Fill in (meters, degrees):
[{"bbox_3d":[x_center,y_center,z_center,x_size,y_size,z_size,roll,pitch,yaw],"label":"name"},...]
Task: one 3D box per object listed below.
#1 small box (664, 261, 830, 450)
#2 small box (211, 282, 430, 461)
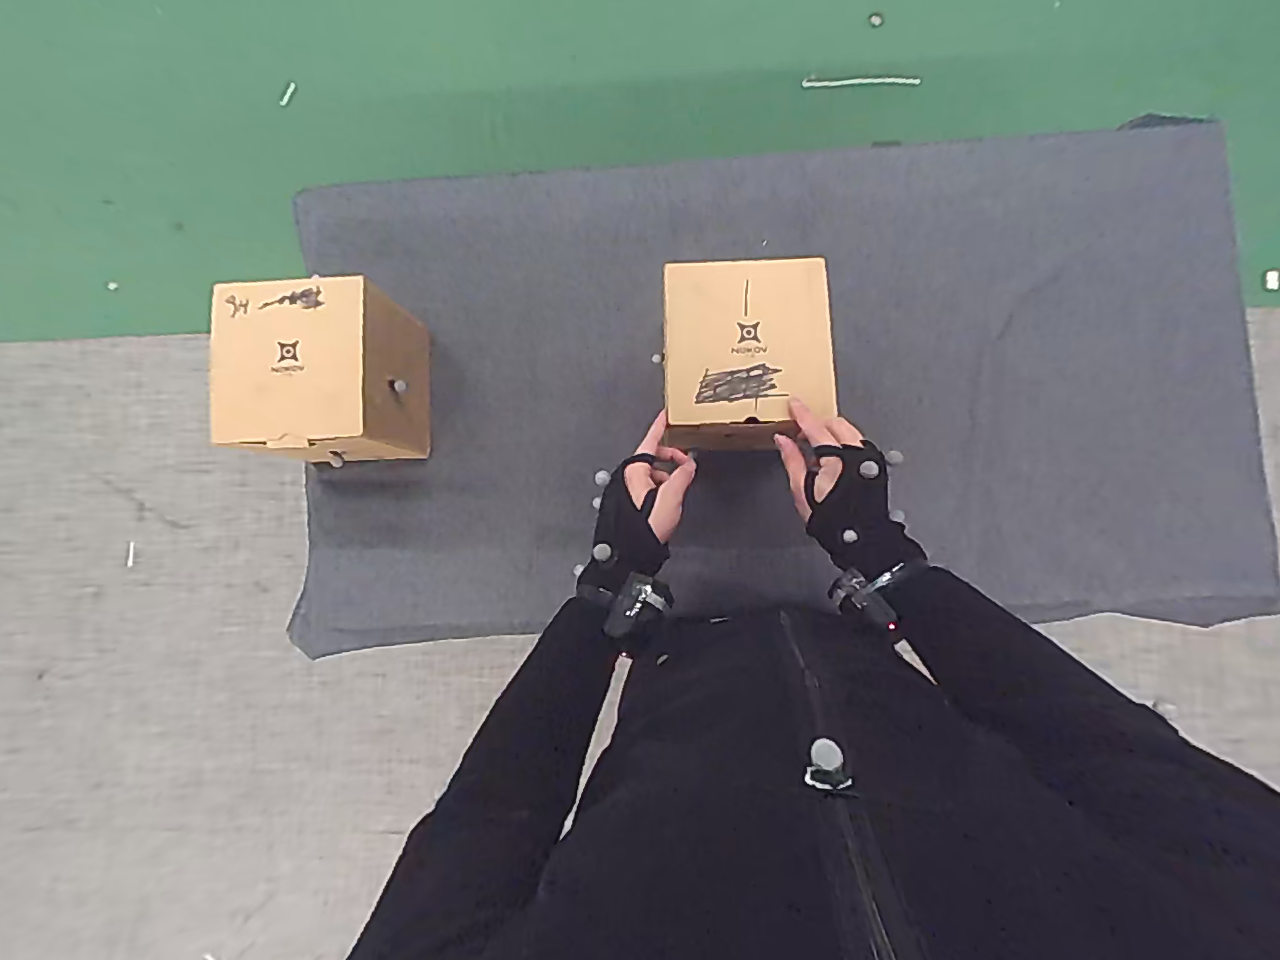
[{"bbox_3d":[0.112,-0.128,0.621,0.168,0.176,0.179,-1,85,3],"label":"small box"},{"bbox_3d":[-0.362,-0.114,0.643,0.168,0.176,0.179,-2,87,1],"label":"small box"}]
